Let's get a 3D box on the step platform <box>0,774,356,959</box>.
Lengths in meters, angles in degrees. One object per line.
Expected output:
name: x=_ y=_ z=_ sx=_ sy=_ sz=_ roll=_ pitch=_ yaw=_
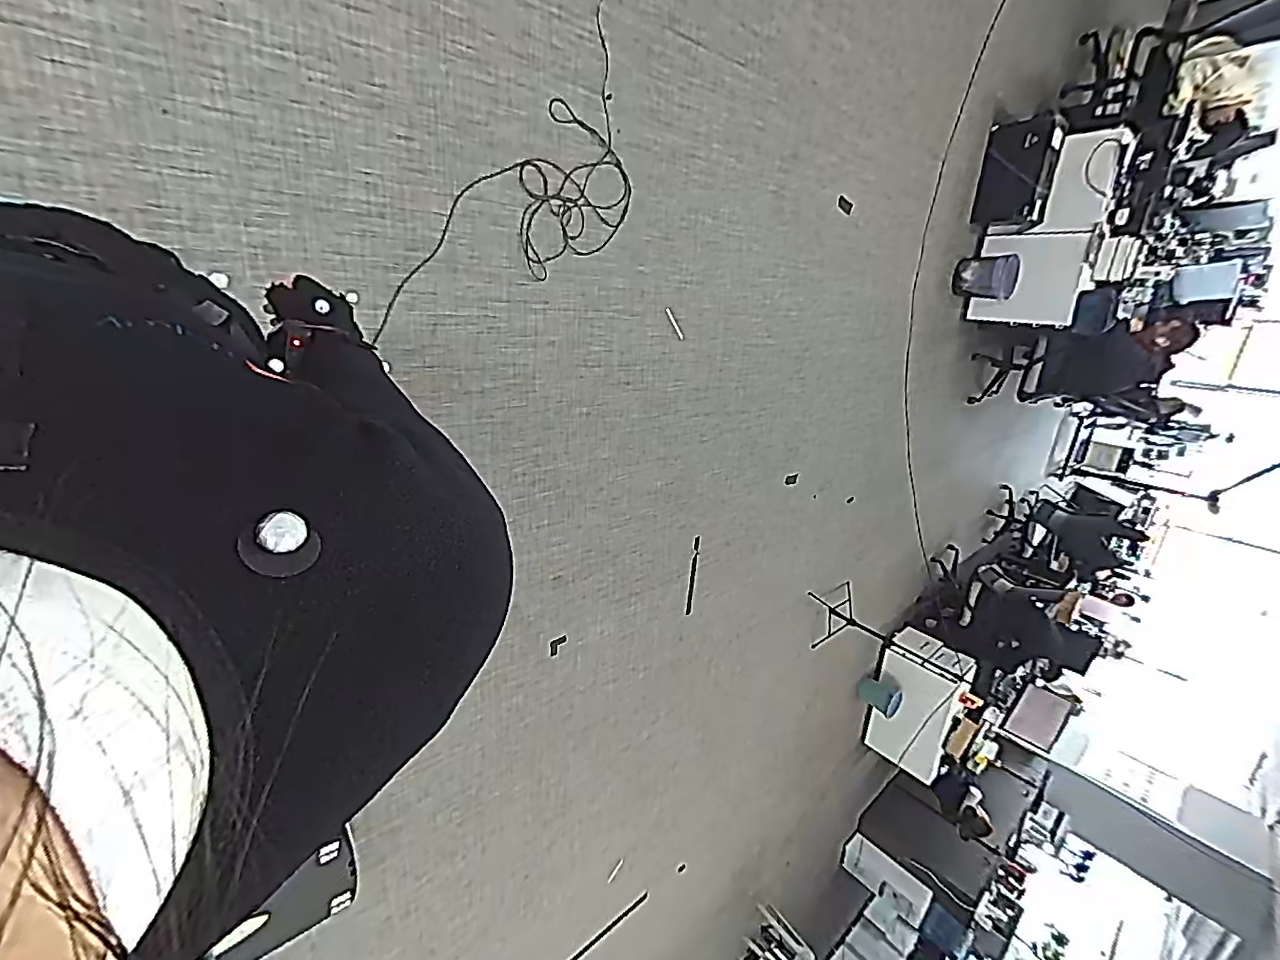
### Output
step platform: x=-1.099 y=1.063 z=1.357 sx=0.684 sy=0.204 sz=0.286 roll=-14 pitch=115 yaw=-38
